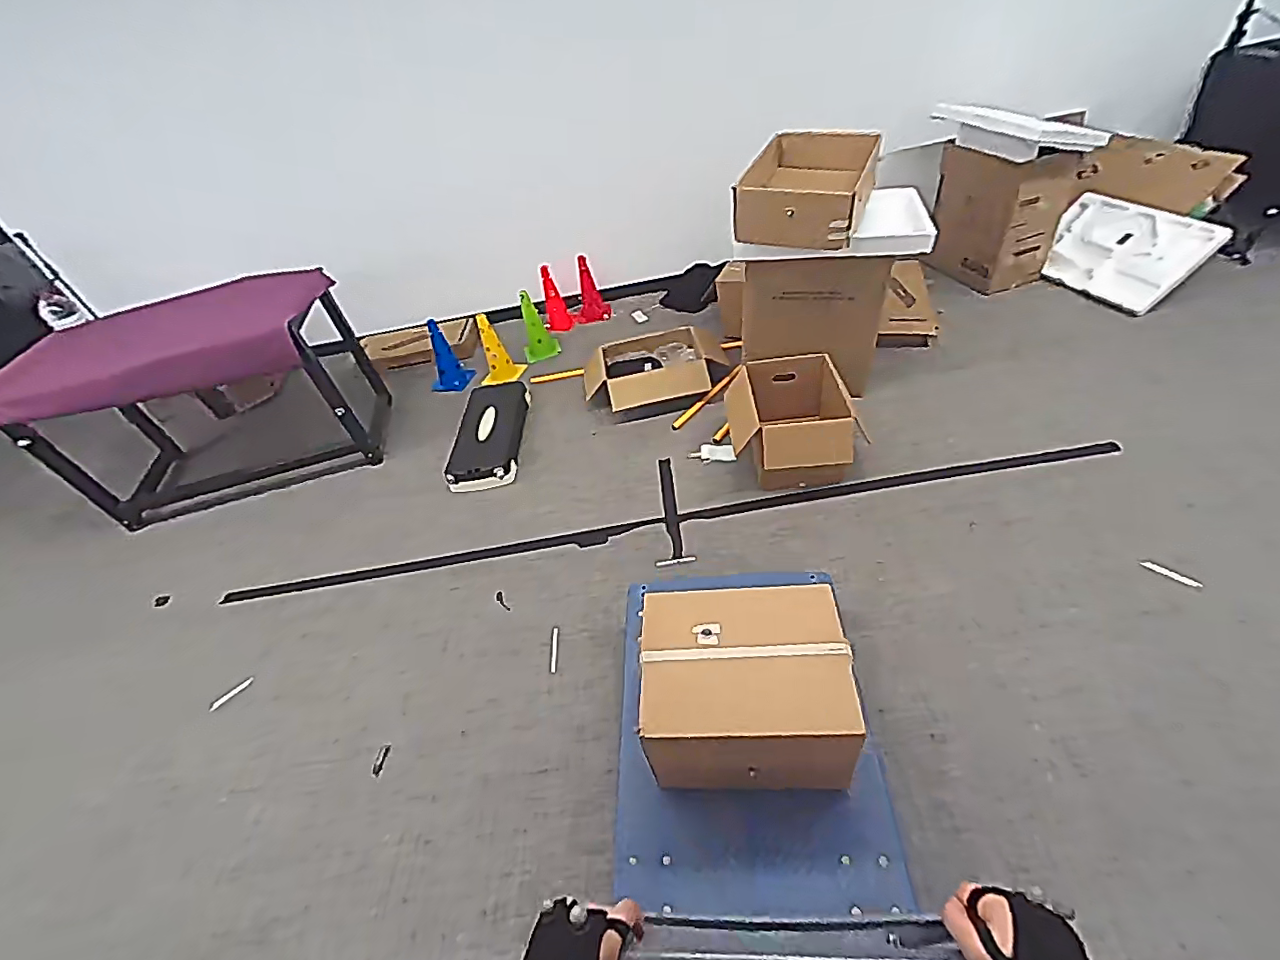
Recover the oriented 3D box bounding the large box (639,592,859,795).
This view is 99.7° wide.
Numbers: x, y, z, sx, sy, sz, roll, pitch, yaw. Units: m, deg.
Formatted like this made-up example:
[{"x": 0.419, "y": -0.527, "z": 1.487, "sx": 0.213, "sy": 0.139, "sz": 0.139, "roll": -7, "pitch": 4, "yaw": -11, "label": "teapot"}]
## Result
[{"x": 0.225, "y": 0.475, "z": 1.189, "sx": 0.408, "sy": 0.320, "sz": 0.320, "roll": -6, "pitch": 43, "yaw": 8, "label": "large box"}]
